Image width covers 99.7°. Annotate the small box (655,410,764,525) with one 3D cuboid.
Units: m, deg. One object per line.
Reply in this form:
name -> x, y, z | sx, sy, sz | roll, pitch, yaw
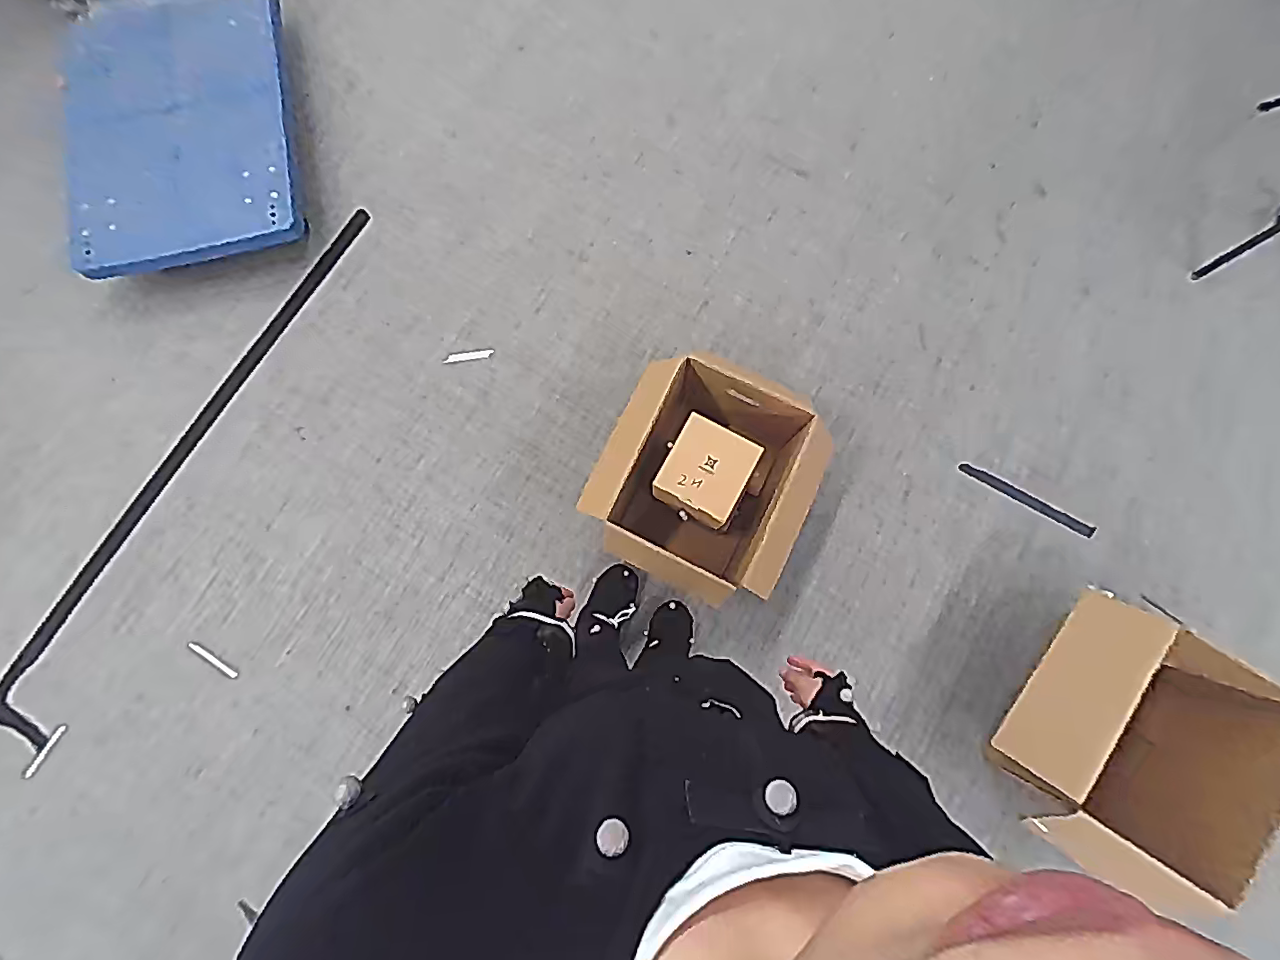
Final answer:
small box -> 0.141, -0.019, 1.164 | 0.168, 0.176, 0.179 | 29, 82, 7
